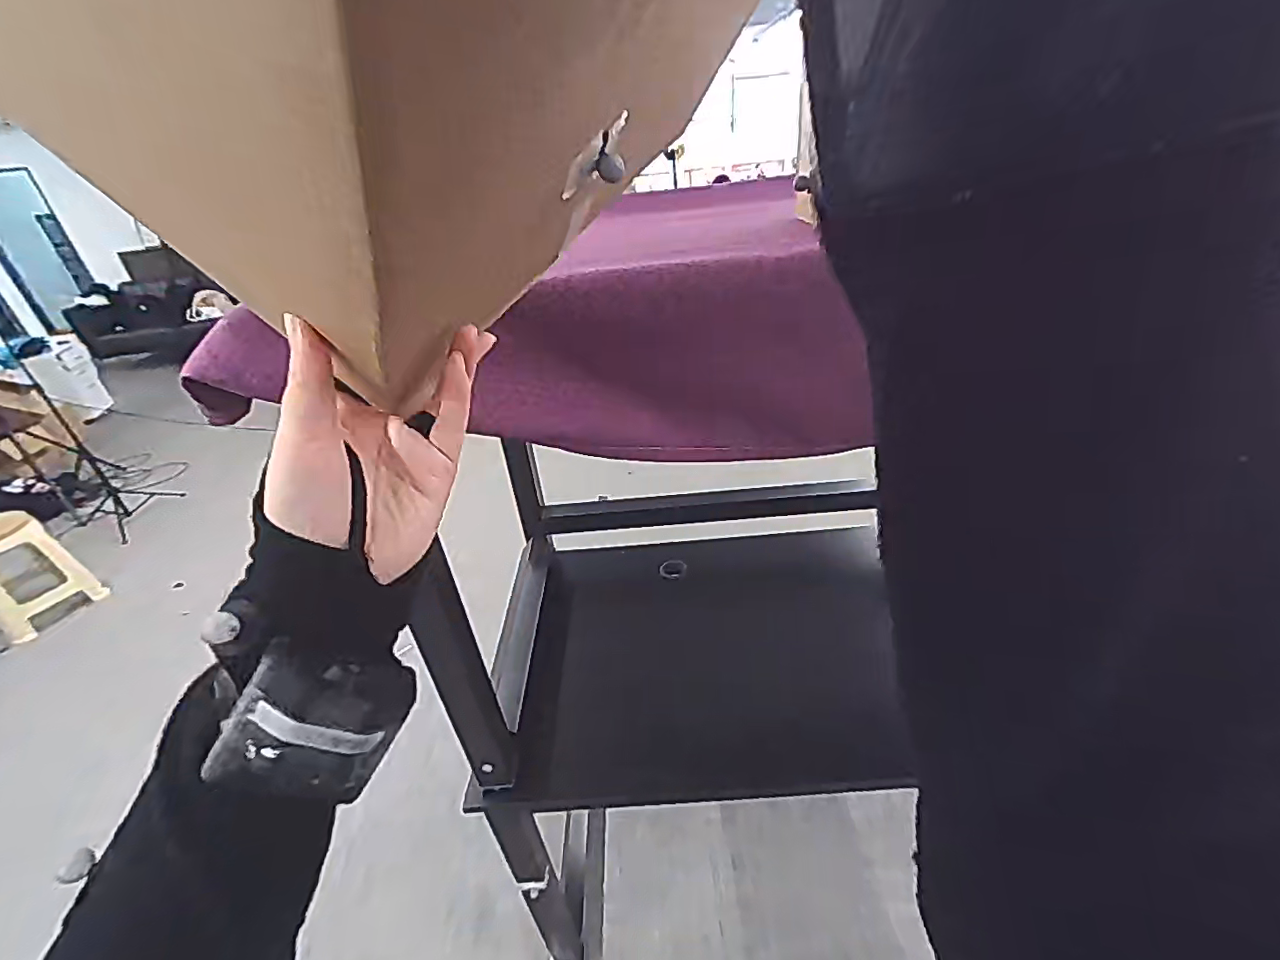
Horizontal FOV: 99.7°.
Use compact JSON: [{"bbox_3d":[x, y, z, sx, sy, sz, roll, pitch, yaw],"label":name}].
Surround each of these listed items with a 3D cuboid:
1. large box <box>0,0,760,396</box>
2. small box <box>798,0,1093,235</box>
[{"bbox_3d":[-0.139,-0.305,0.181,0.320,0.408,0.320,-54,8,-25],"label":"large box"},{"bbox_3d":[0.257,-0.337,0.506,0.179,0.176,0.168,-5,30,3],"label":"small box"}]
